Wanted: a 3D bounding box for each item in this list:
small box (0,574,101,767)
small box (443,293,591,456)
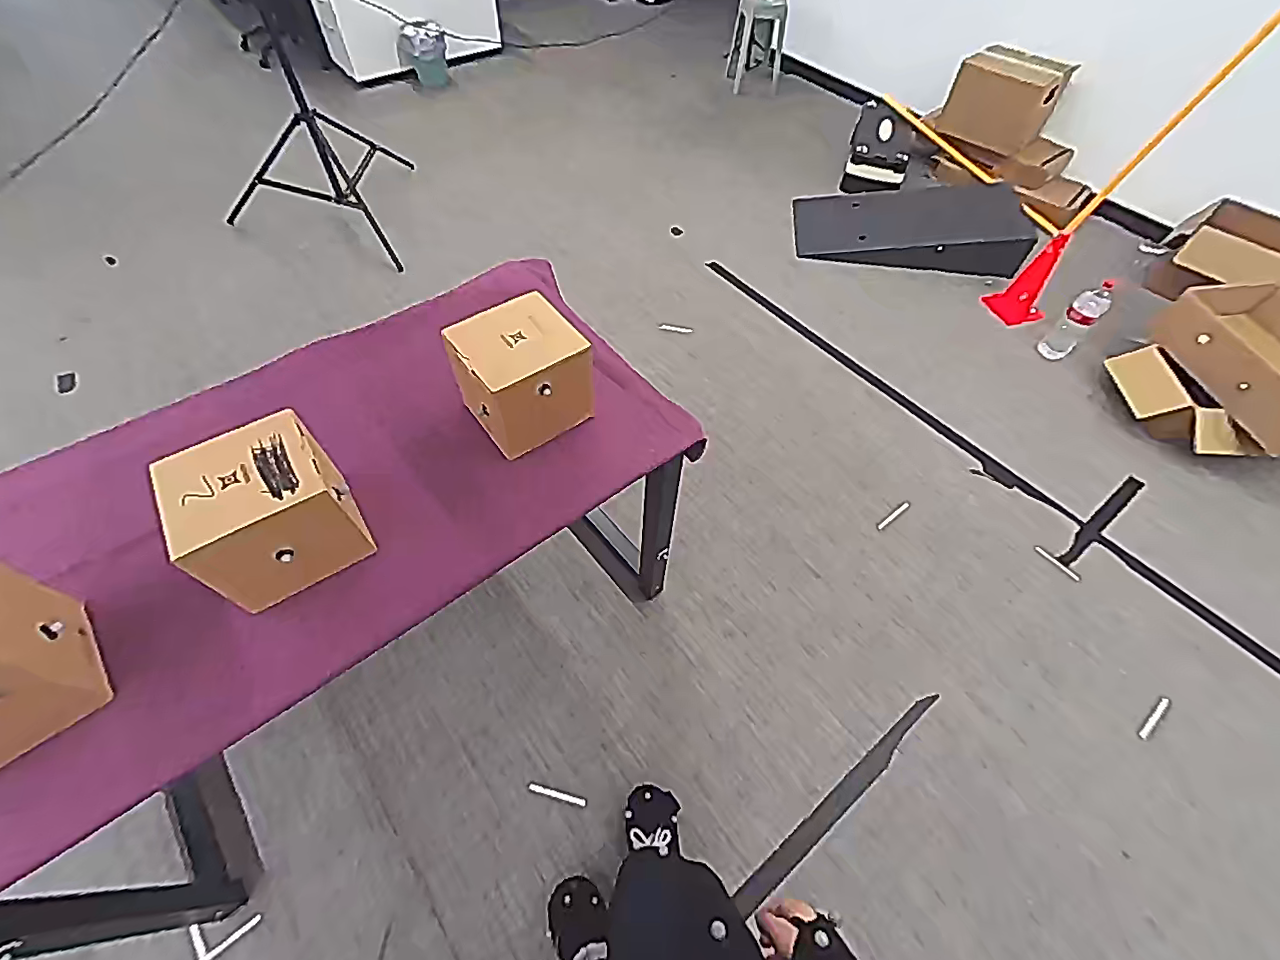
[{"bbox_3d":[-0.766,0.221,0.606,0.179,0.176,0.168,-35,62,-23],"label":"small box"},{"bbox_3d":[-0.194,-0.171,0.899,0.179,0.176,0.168,-31,63,-22],"label":"small box"}]
